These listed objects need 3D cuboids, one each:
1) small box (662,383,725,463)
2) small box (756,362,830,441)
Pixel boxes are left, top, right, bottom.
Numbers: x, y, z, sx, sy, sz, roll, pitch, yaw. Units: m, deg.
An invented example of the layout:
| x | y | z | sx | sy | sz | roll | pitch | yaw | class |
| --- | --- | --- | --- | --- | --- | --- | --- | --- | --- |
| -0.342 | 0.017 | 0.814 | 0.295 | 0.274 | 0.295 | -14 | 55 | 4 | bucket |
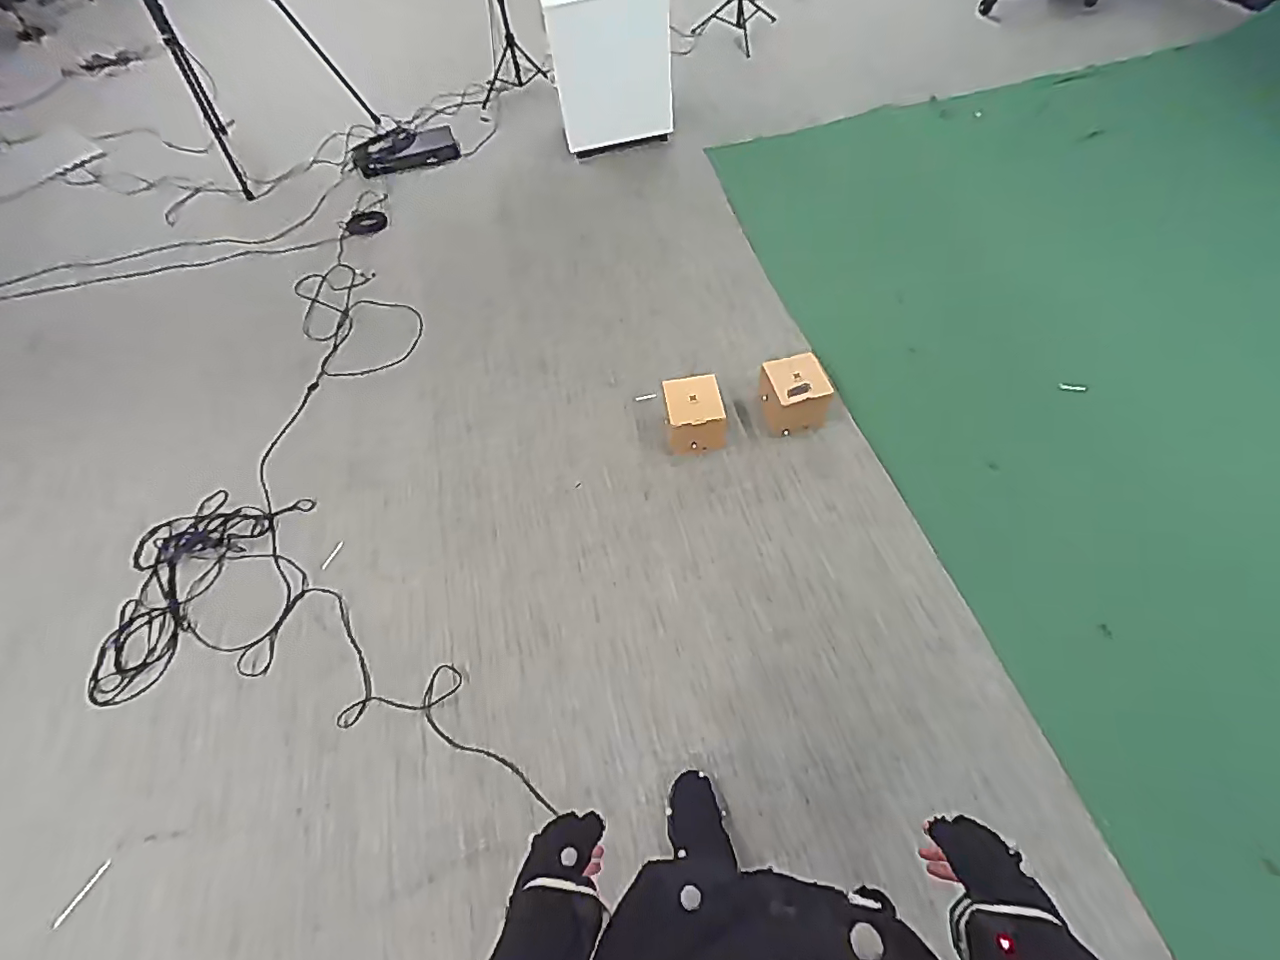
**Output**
| x | y | z | sx | sy | sz | roll | pitch | yaw | class |
| --- | --- | --- | --- | --- | --- | --- | --- | --- | --- |
| 0.162 | -0.176 | 1.691 | 0.168 | 0.176 | 0.179 | -9 | 59 | -1 | small box |
| 0.475 | -0.239 | 1.703 | 0.168 | 0.176 | 0.179 | -13 | 58 | -3 | small box |
